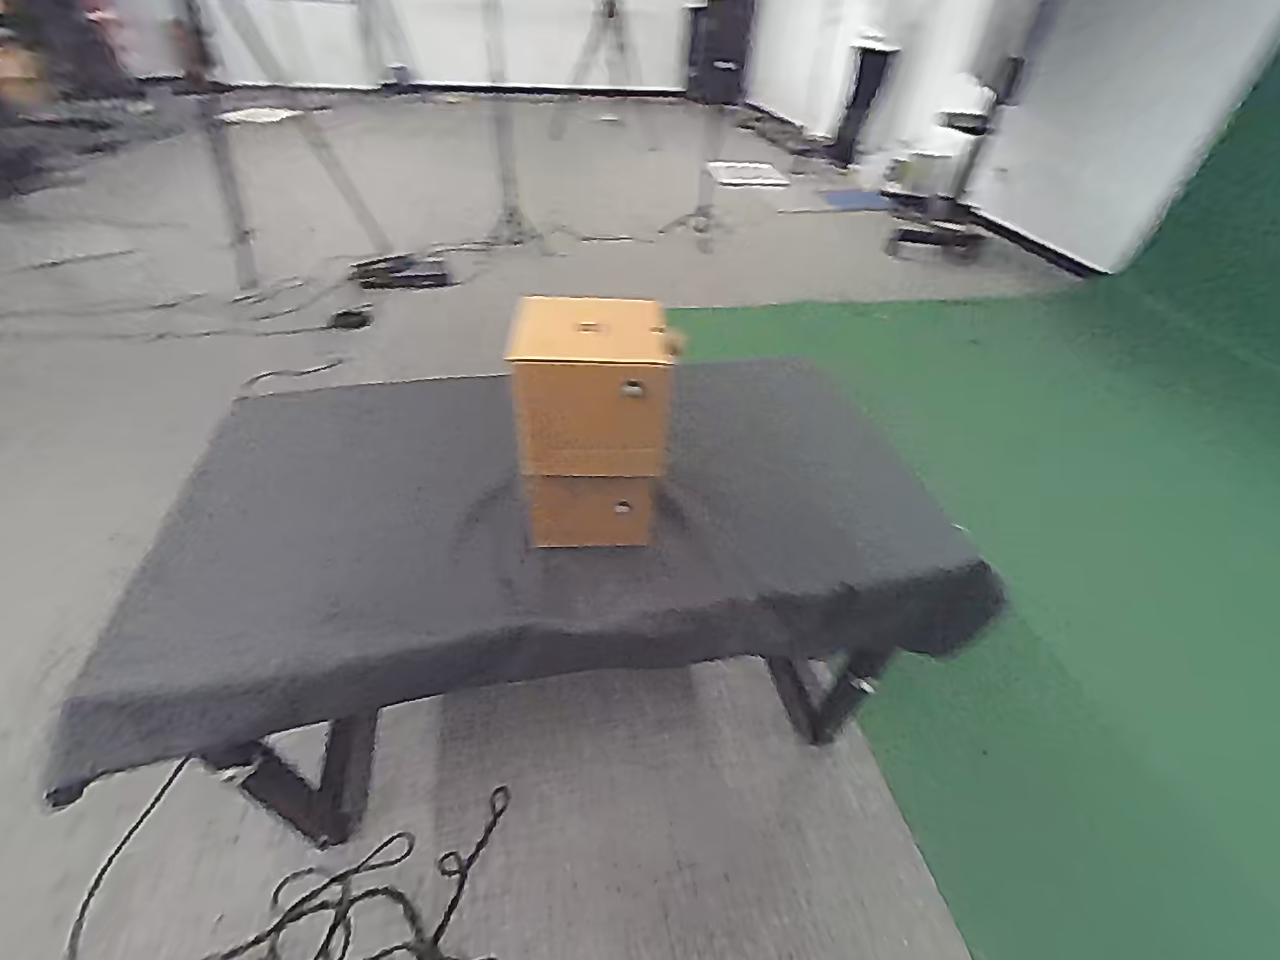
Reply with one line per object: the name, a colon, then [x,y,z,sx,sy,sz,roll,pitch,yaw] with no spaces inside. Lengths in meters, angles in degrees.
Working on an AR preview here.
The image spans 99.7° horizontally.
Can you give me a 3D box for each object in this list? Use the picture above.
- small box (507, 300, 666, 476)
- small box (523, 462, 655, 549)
small box: [-0.064,-0.117,0.696,0.179,0.176,0.168,0,41,-5]
small box: [-0.076,-0.011,0.820,0.179,0.176,0.168,-2,42,-5]
